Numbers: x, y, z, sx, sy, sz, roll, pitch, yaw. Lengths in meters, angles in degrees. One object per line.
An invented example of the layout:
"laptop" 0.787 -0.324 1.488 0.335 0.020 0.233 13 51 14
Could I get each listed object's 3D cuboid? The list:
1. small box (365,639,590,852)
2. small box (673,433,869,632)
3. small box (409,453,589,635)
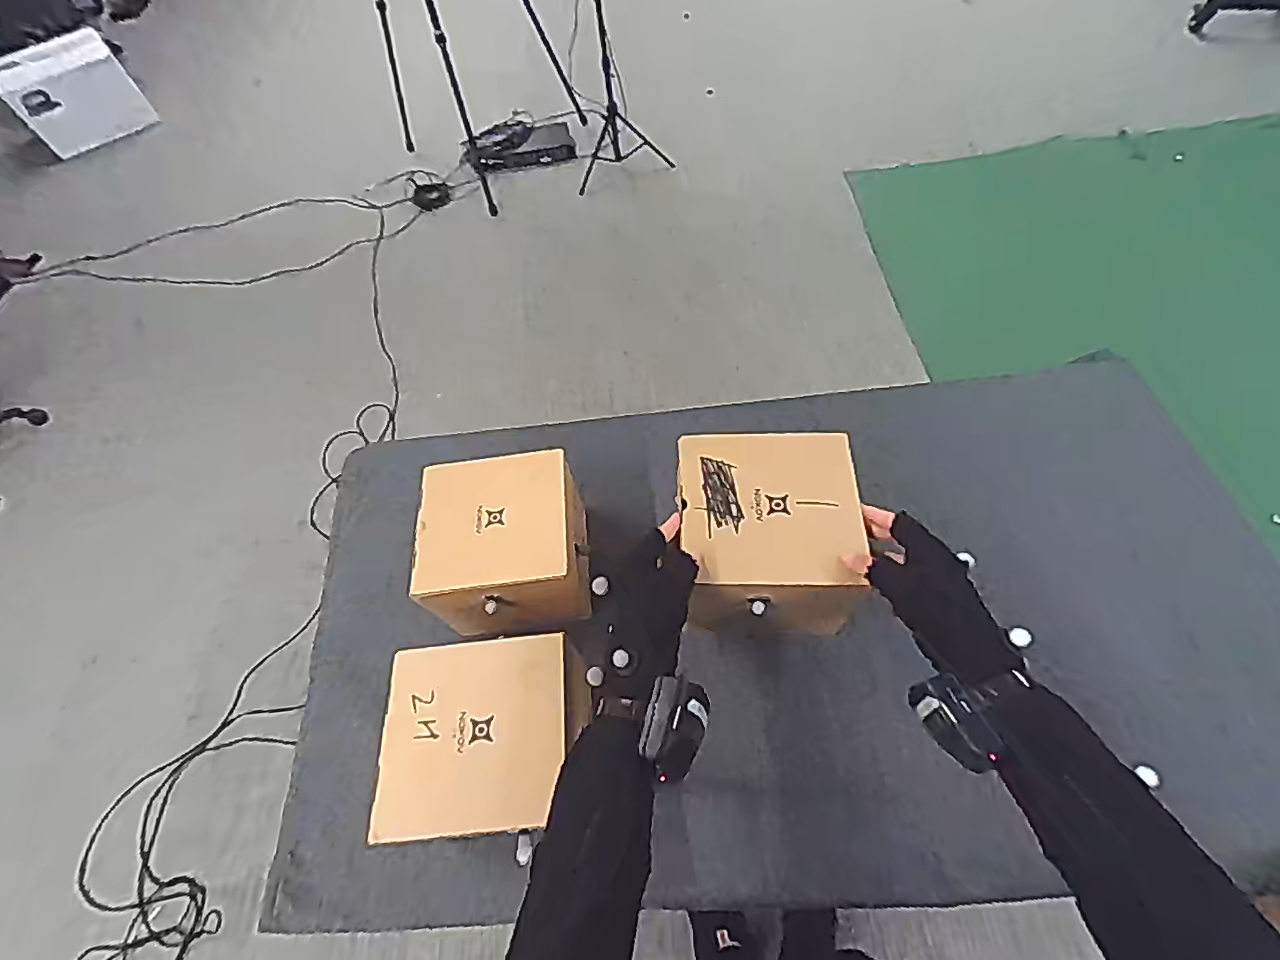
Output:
"small box" -0.148 0.277 0.565 0.179 0.176 0.168 -7 58 2
"small box" 0.128 0.064 0.593 0.179 0.176 0.168 -1 59 5
"small box" -0.163 0.088 0.685 0.179 0.176 0.168 -9 60 2
